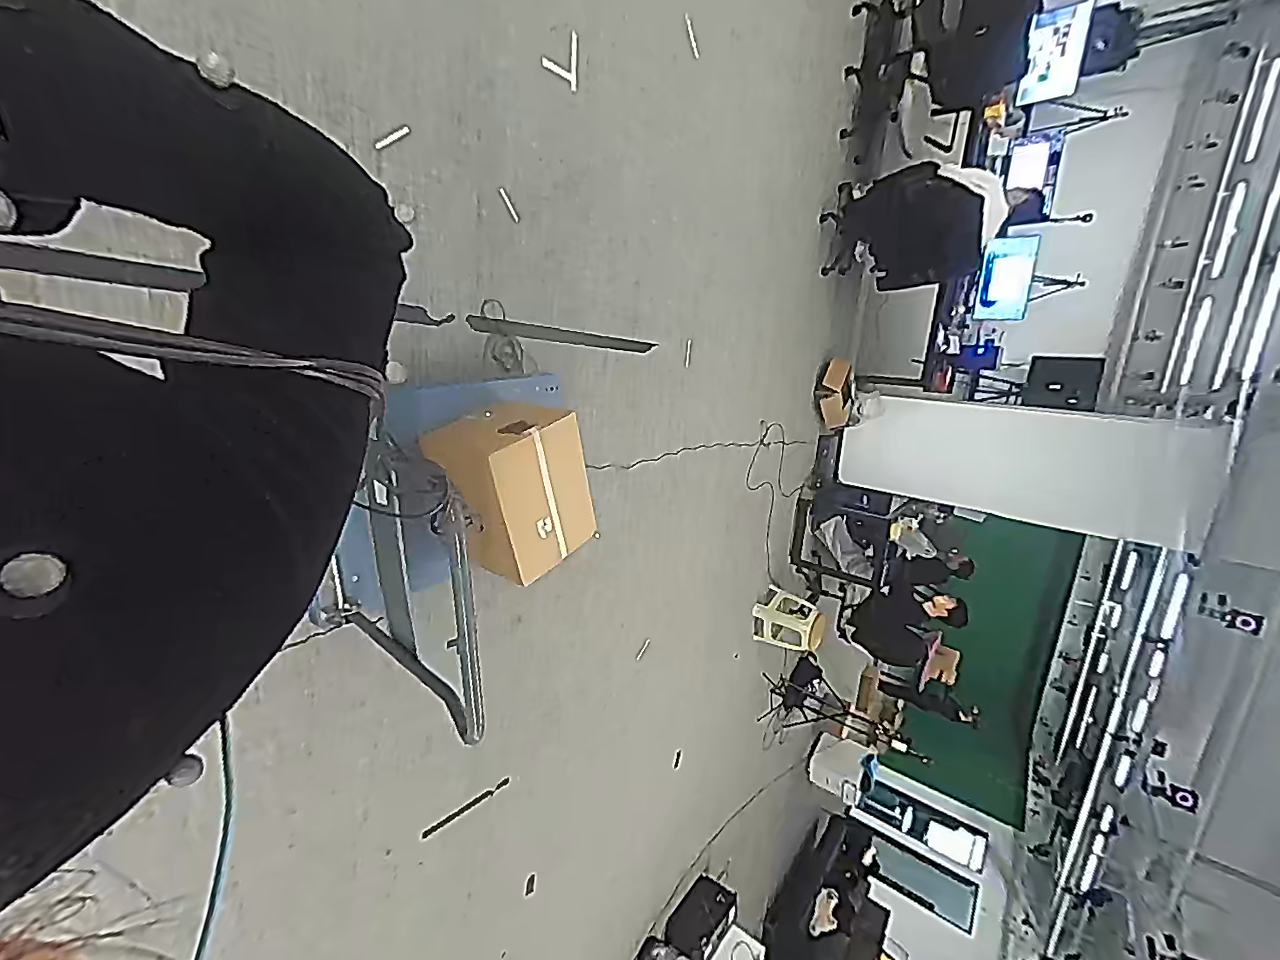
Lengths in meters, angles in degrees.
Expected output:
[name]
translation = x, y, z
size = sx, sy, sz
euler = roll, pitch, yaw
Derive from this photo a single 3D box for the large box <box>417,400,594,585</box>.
[large box]
translation = -0.375, 0.021, 1.562
size = 0.320, 0.320, 0.408
euler = -35, 128, -42
